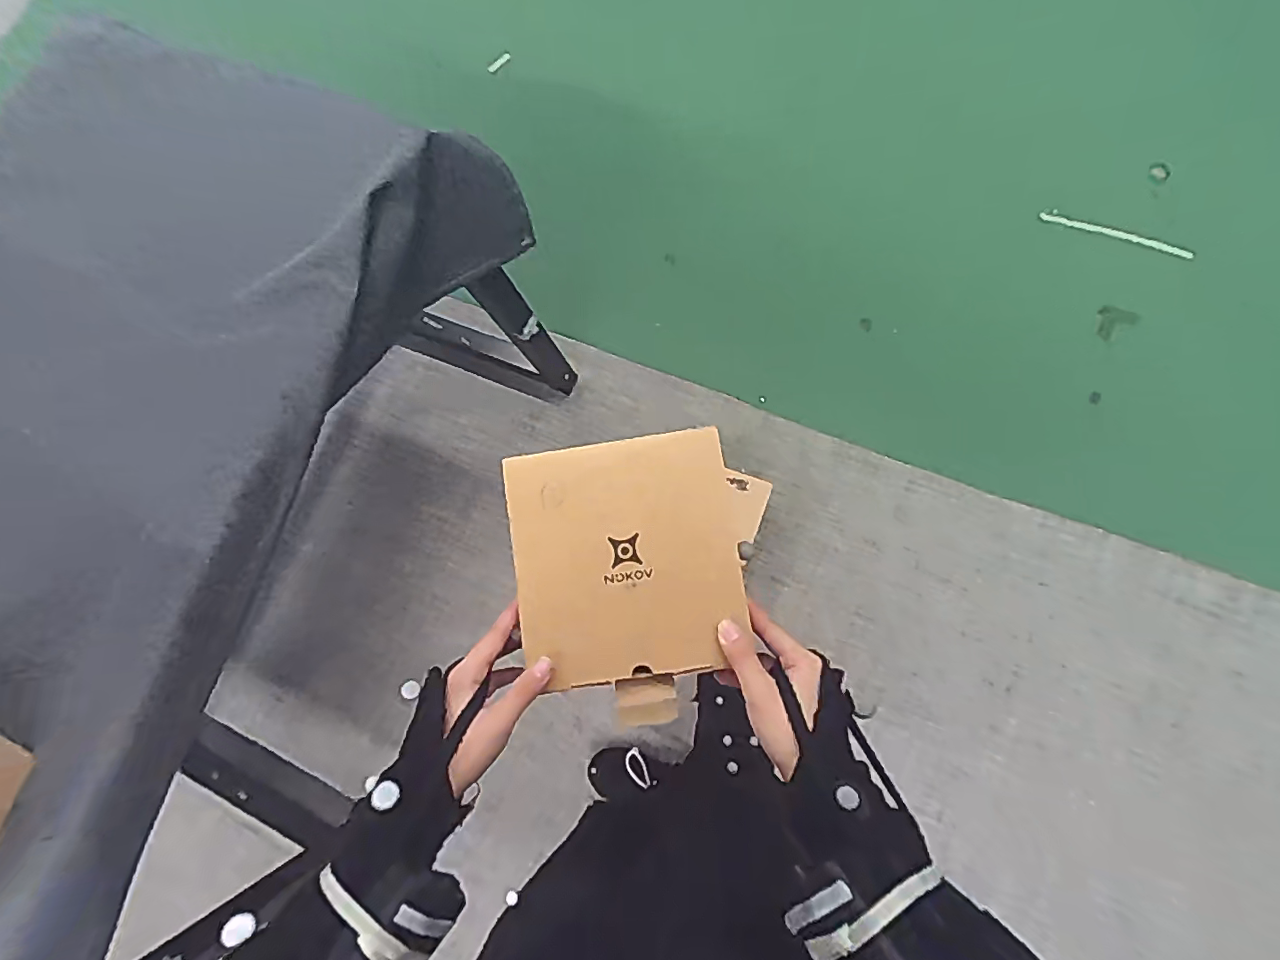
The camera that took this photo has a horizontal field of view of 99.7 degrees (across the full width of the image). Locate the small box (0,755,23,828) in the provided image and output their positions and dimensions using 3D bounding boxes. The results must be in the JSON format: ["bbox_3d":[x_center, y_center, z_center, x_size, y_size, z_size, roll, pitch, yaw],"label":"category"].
[{"bbox_3d":[-0.711,0.311,0.452,0.179,0.176,0.168,20,83,11],"label":"small box"}]
